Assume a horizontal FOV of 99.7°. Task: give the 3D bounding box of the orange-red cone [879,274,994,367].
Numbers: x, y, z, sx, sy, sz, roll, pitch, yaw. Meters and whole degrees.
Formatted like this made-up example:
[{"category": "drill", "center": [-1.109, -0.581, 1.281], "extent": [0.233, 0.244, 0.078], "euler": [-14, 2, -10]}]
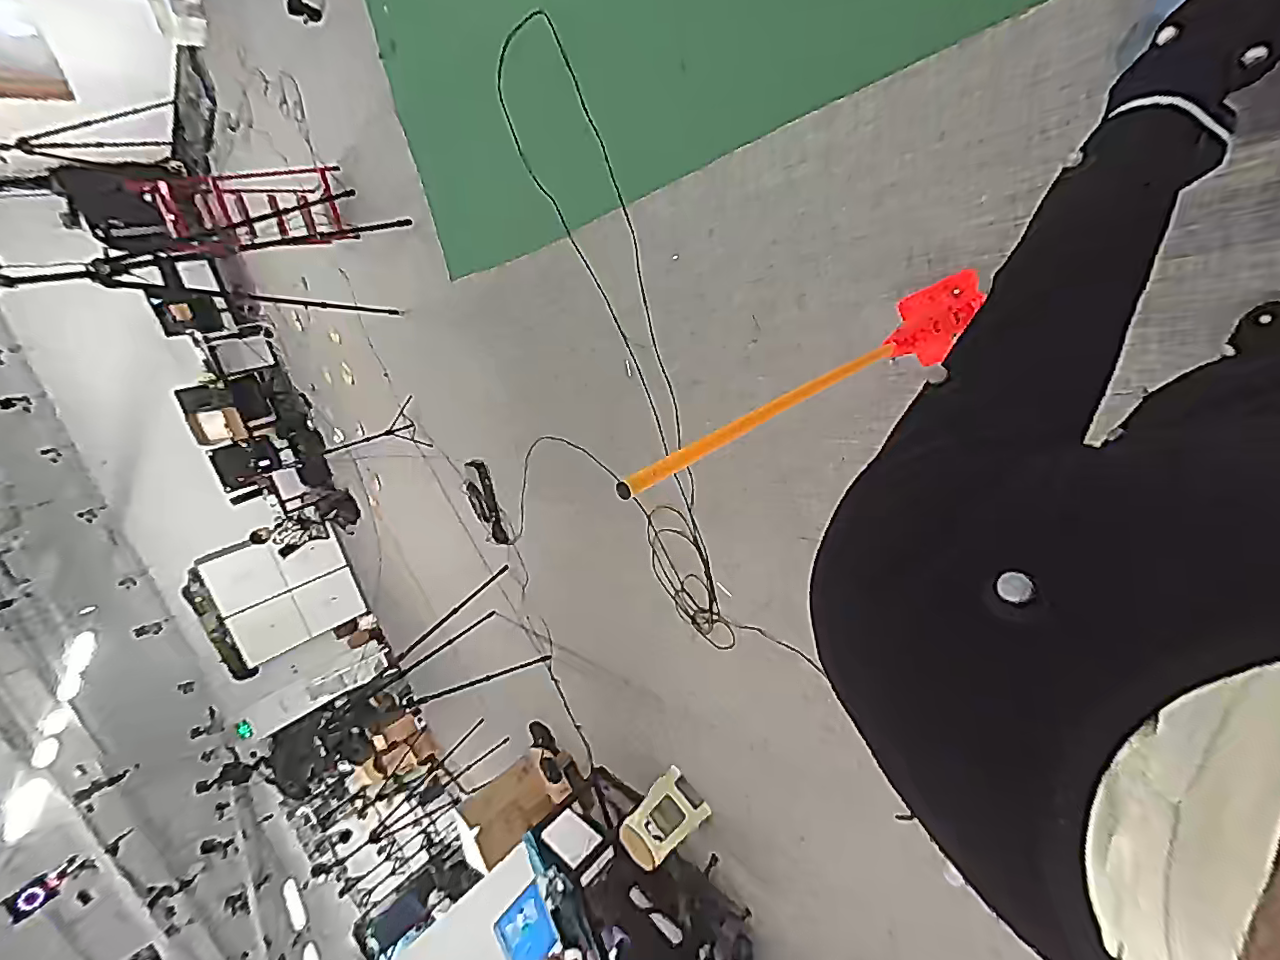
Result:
[{"category": "orange-red cone", "center": [0.678, -0.351, 1.316], "extent": [0.199, 0.360, 0.198], "euler": [-17, 98, 53]}]
